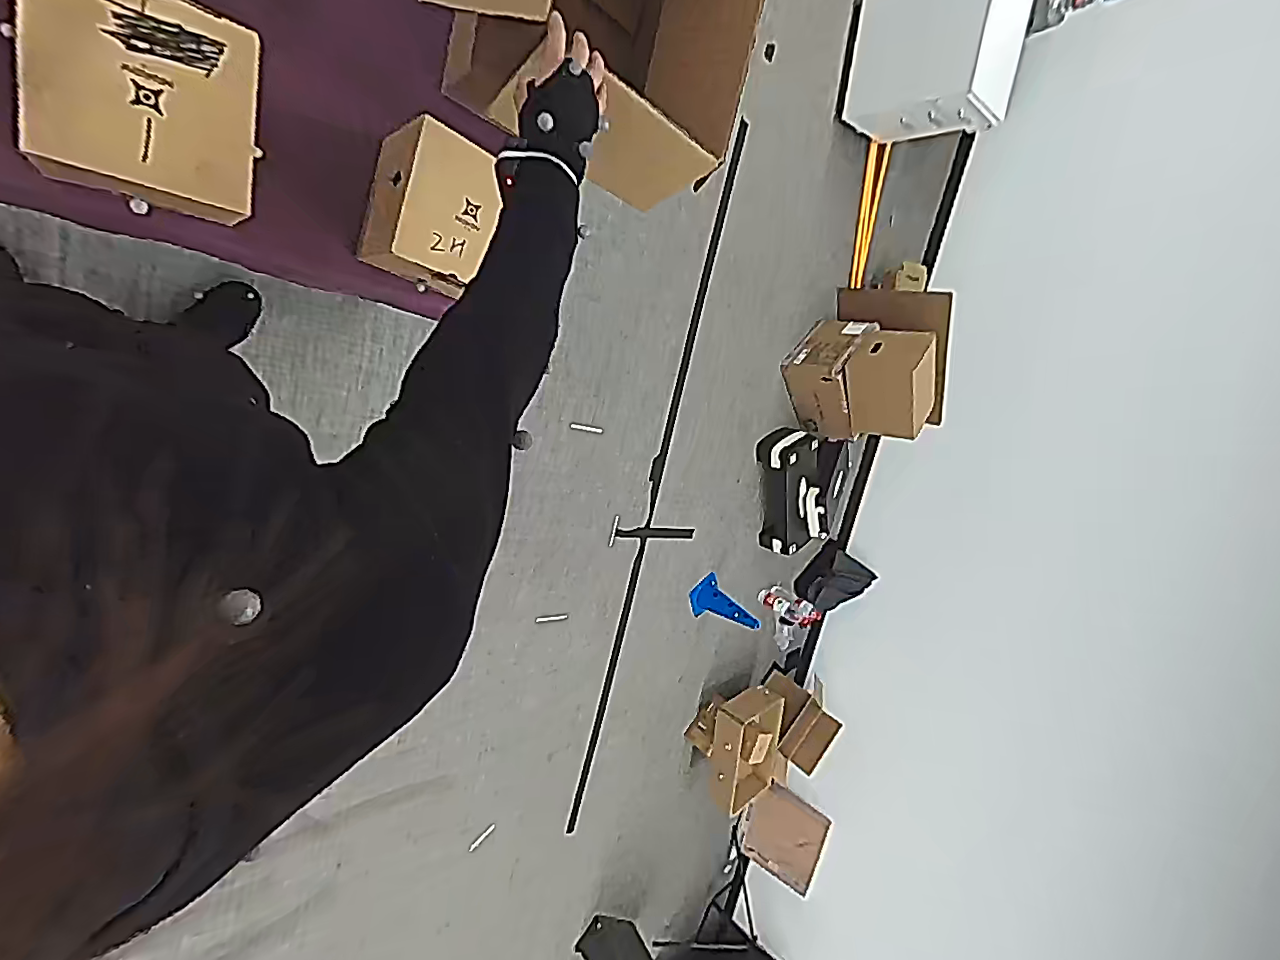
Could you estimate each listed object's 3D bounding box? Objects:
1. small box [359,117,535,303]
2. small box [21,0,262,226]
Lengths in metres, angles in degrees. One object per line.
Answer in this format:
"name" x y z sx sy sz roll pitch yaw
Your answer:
"small box" -0.282 -0.371 0.778 0.168 0.176 0.179 12 96 -44
"small box" -0.511 -0.383 0.562 0.168 0.176 0.179 1 105 -43
